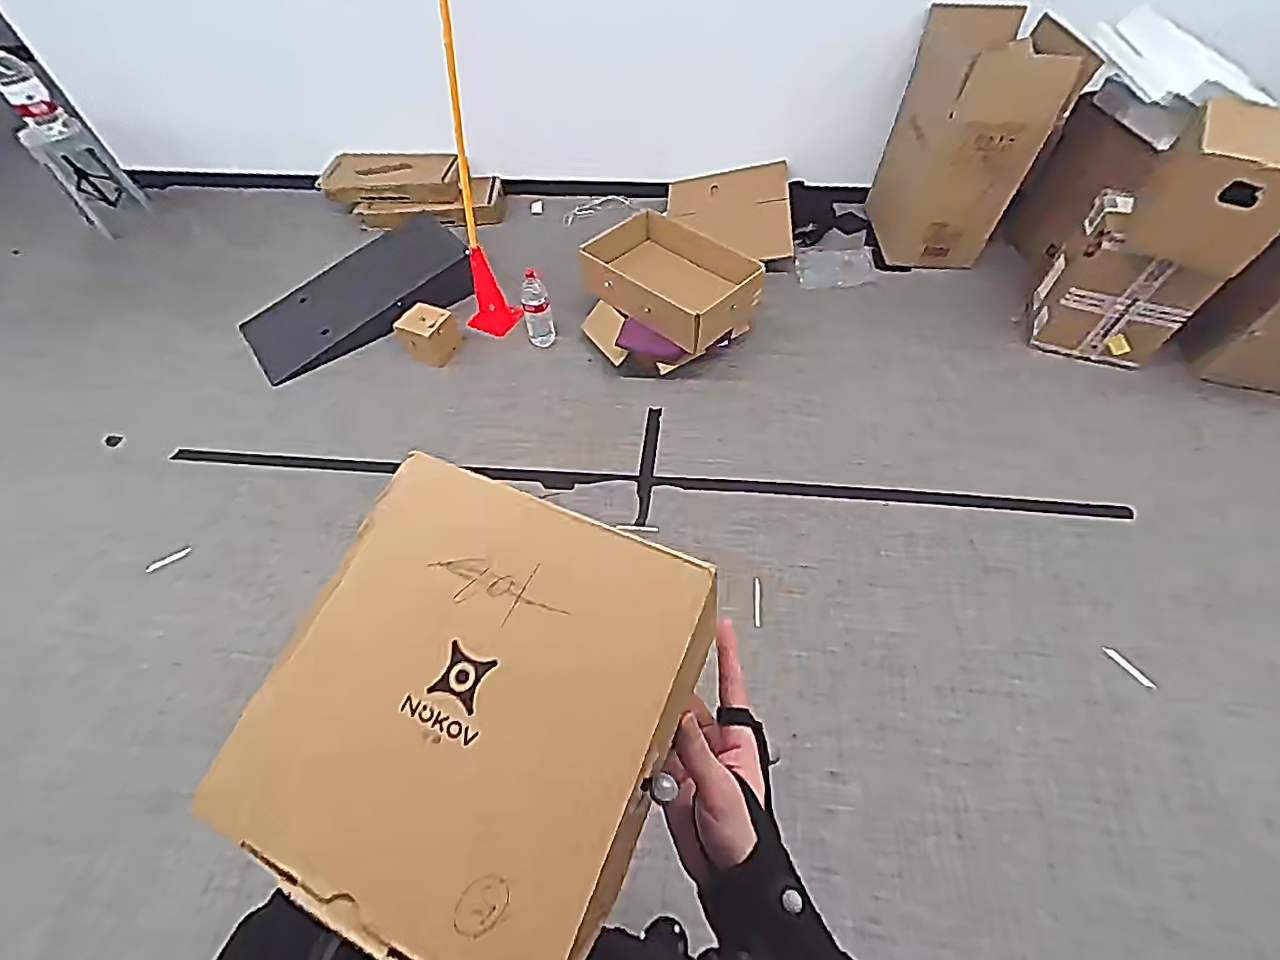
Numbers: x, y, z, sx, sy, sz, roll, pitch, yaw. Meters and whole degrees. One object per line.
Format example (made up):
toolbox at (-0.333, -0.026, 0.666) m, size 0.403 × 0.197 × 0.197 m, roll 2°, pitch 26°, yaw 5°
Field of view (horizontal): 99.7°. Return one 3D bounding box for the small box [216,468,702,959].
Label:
small box at (-0.066, 0.124, 0.309) m, size 0.168 × 0.176 × 0.179 m, roll 19°, pitch 71°, yaw 15°
